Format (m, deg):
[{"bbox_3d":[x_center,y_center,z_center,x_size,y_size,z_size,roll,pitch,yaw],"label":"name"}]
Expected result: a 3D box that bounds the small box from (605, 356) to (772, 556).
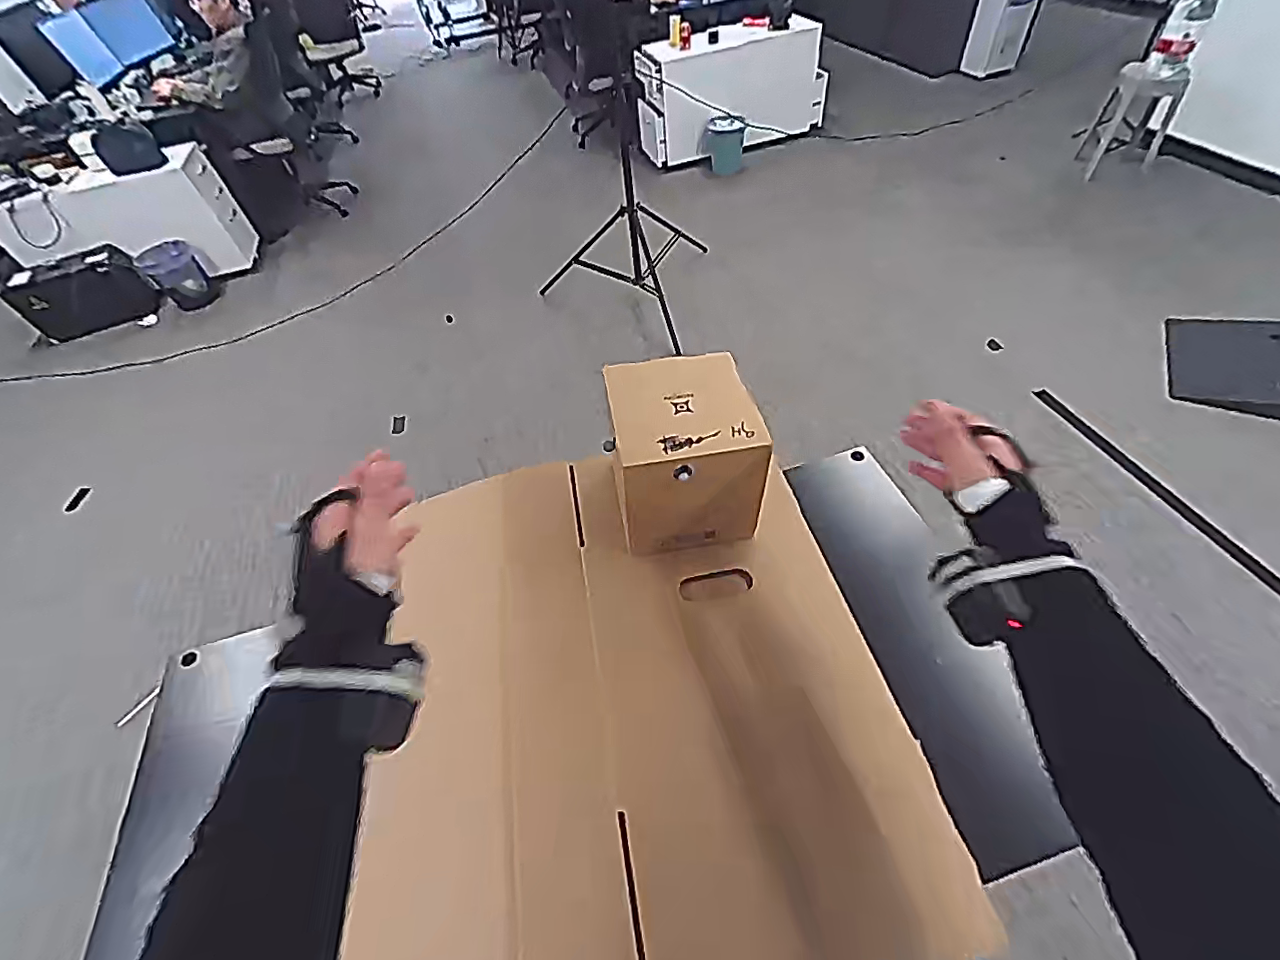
[{"bbox_3d":[0.050,-0.030,0.681,0.168,0.176,0.179,-9,48,-5],"label":"small box"}]
